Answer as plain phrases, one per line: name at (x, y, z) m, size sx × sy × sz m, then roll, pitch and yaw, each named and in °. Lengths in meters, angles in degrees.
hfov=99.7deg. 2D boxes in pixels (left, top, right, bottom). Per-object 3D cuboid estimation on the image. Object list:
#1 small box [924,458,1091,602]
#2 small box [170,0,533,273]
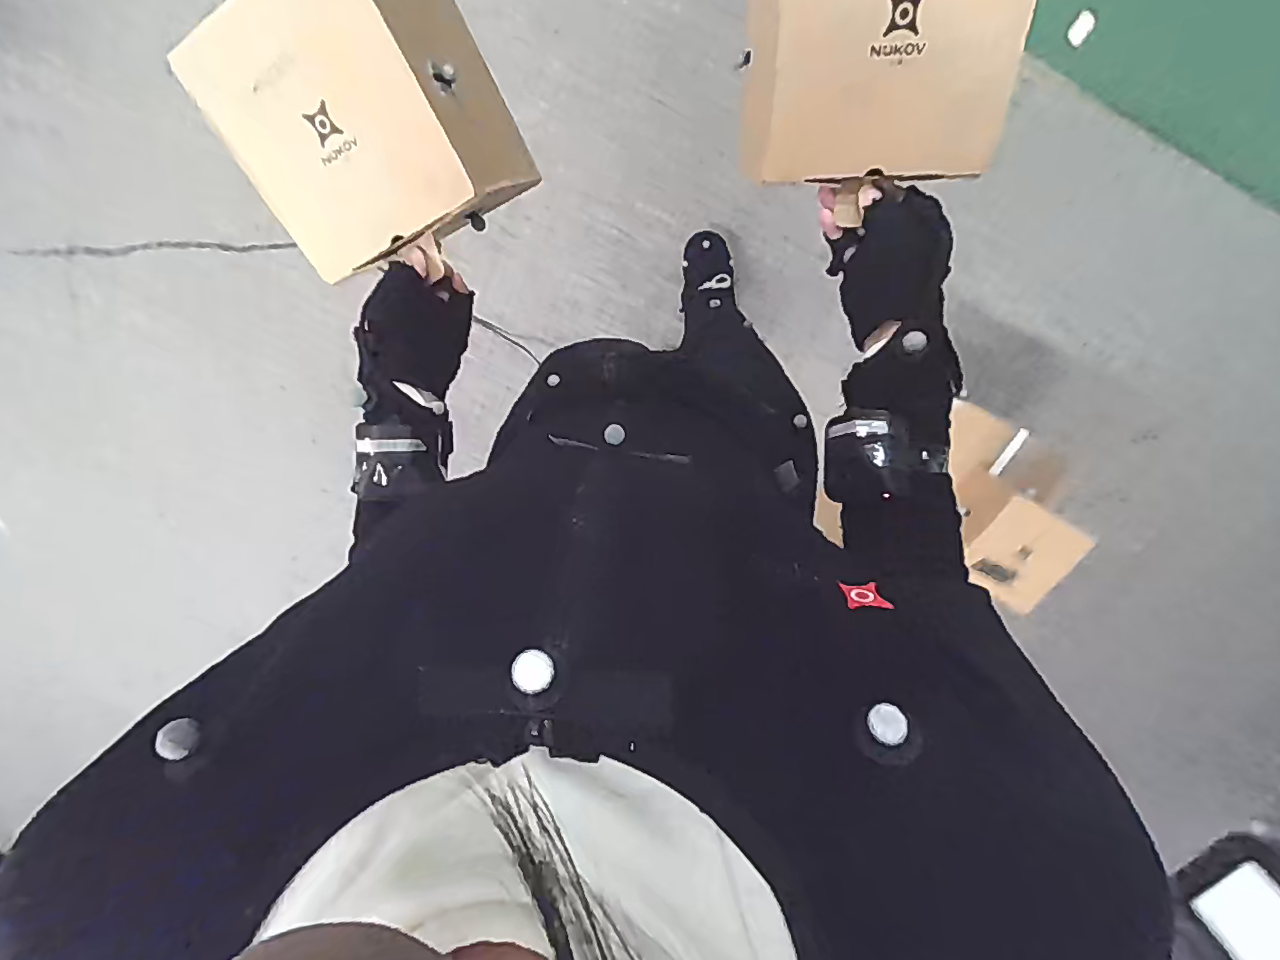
small box at (0.673, 0.088, 1.021) m, size 0.168 × 0.176 × 0.179 m, roll 34°, pitch 111°, yaw -4°
small box at (-0.217, -0.310, 0.463) m, size 0.168 × 0.176 × 0.179 m, roll -20°, pitch 117°, yaw 20°
